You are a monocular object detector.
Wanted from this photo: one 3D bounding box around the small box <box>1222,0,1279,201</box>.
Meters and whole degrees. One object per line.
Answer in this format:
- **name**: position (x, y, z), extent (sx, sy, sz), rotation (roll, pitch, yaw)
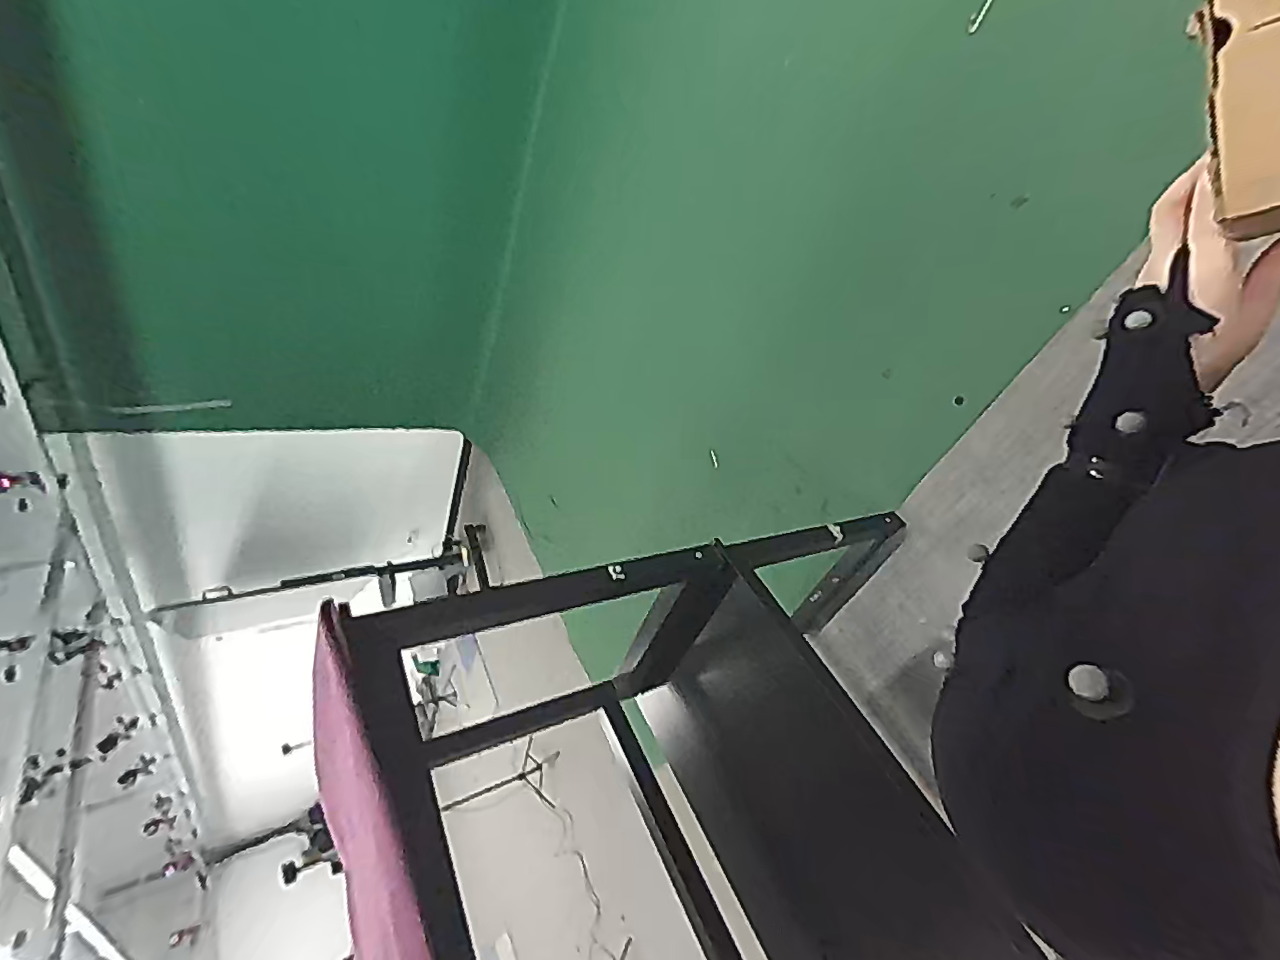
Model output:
- **small box**: position (0.379, -0.239, 0.228), extent (0.179, 0.176, 0.168), rotation (-3, 101, 49)
